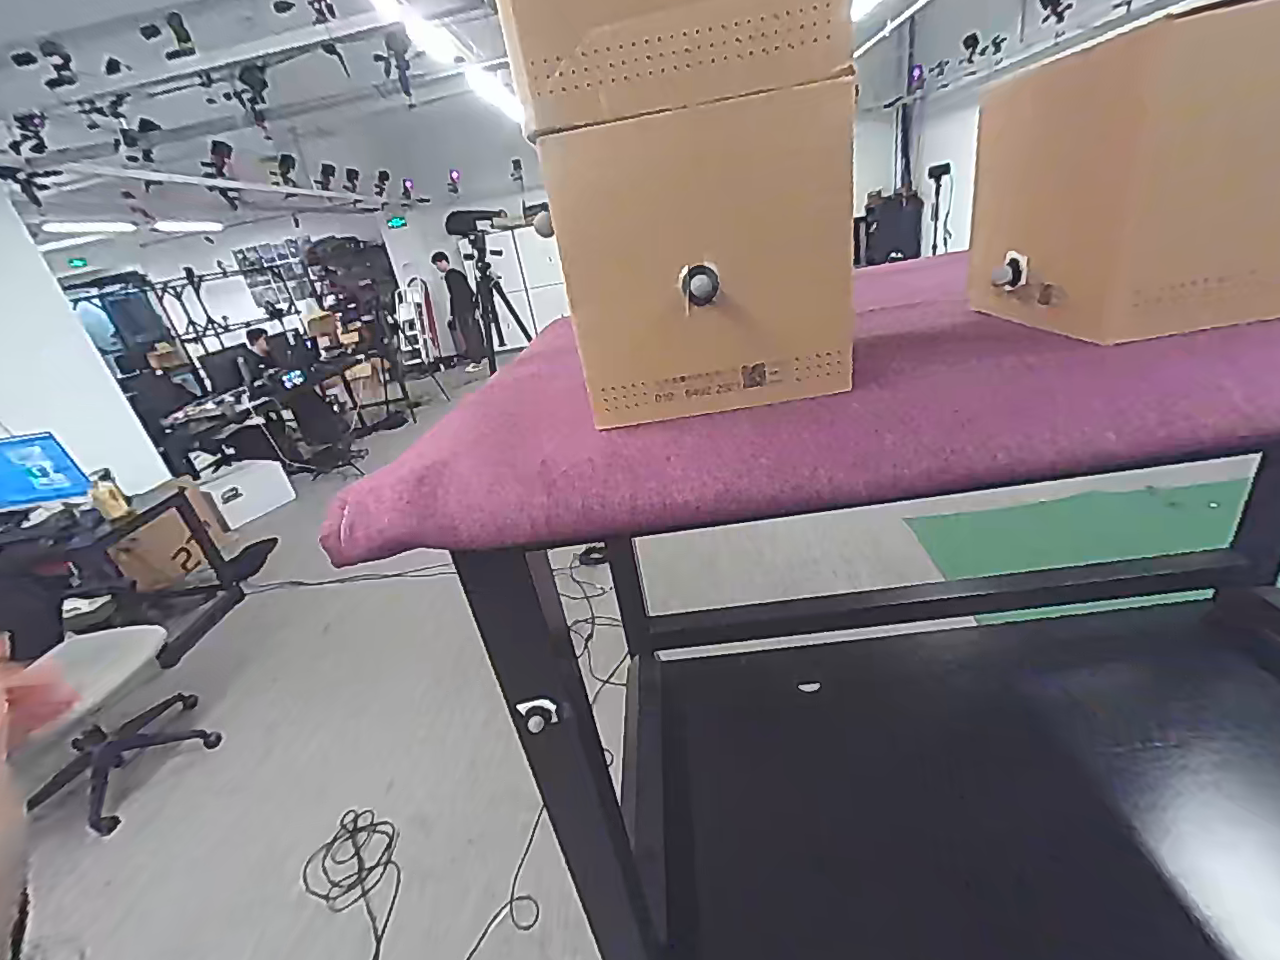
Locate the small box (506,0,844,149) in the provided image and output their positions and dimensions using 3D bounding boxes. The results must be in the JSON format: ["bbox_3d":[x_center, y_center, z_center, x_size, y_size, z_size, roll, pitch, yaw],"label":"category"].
[{"bbox_3d":[0.012,-0.300,0.327,0.179,0.176,0.168,-8,25,2],"label":"small box"}]

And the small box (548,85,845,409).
[{"bbox_3d":[0.042,-0.156,0.396,0.168,0.176,0.179,-7,25,3],"label":"small box"}]

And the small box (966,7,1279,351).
[{"bbox_3d":[0.360,-0.200,0.377,0.179,0.176,0.168,-9,24,4],"label":"small box"}]
